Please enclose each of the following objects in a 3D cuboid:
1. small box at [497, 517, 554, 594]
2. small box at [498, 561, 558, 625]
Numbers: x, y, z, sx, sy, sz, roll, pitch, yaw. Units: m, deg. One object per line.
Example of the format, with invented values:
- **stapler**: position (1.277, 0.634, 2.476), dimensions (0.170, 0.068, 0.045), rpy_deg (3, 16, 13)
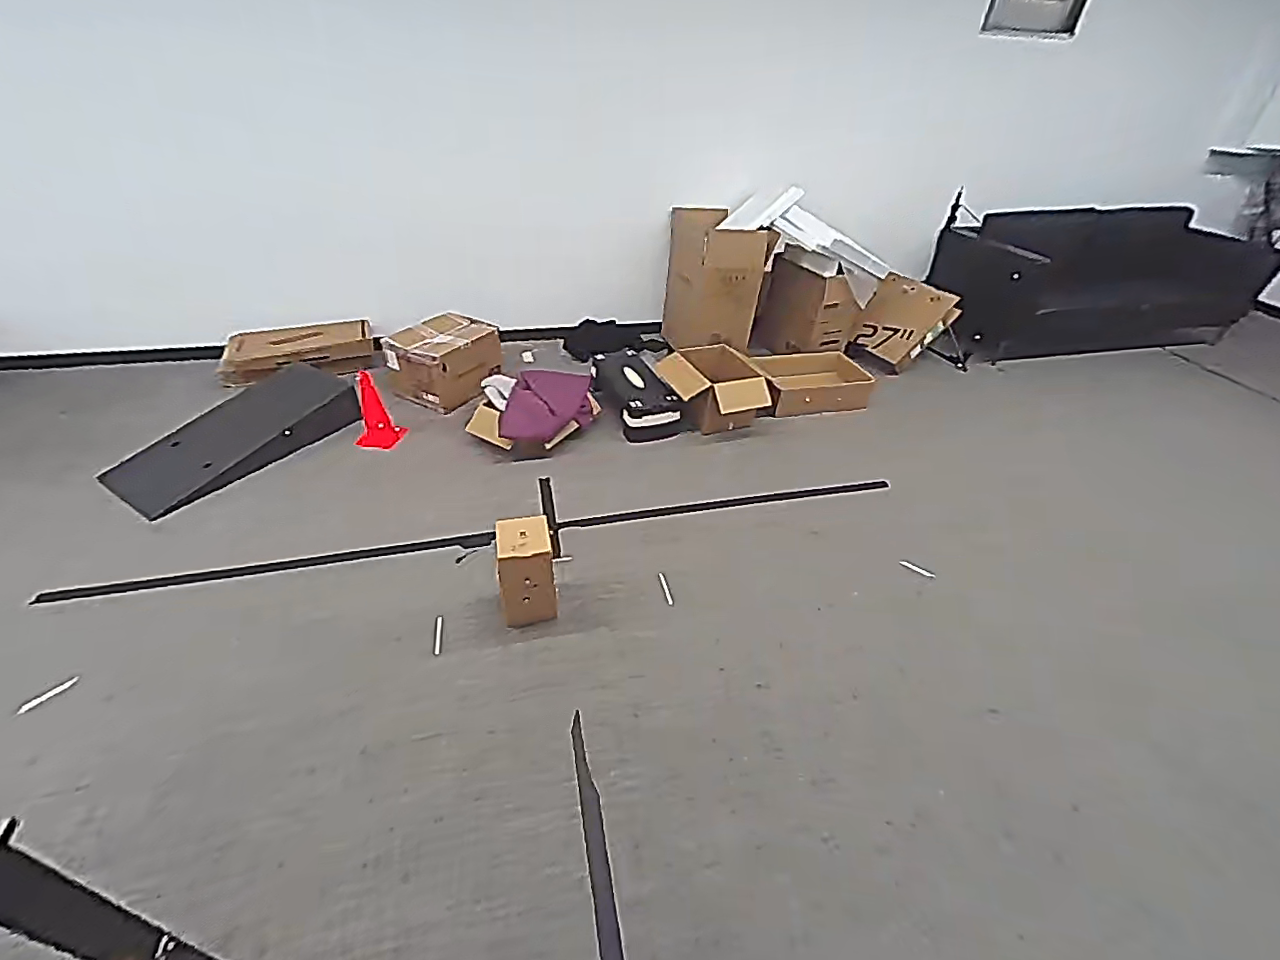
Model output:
- **small box**: position (-0.373, 0.245, 1.762), dimensions (0.168, 0.176, 0.179), rpy_deg (-7, 39, -12)
- **small box**: position (-0.385, 0.376, 1.860), dimensions (0.179, 0.176, 0.168), rpy_deg (-8, 39, -16)
